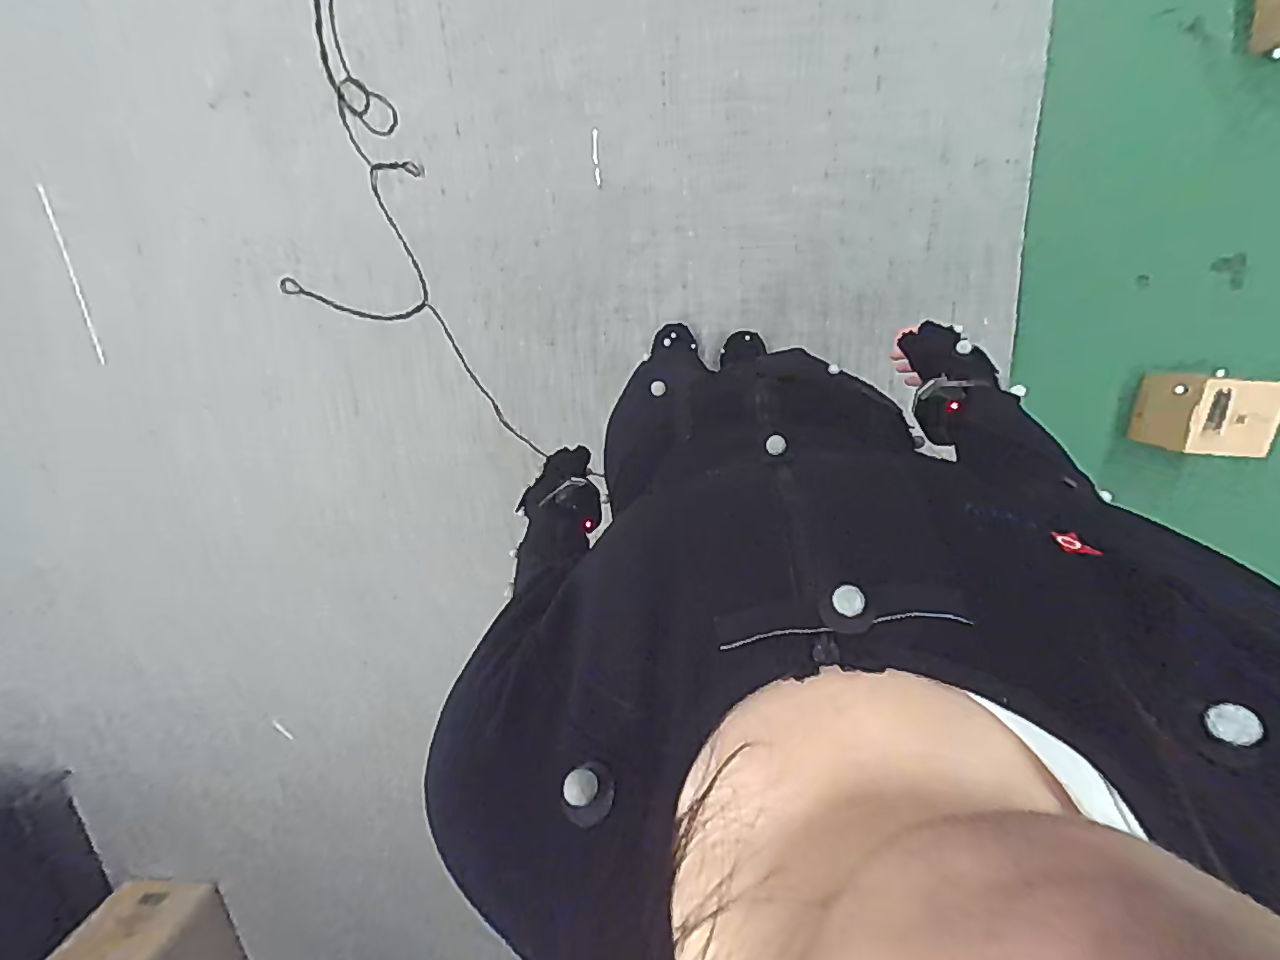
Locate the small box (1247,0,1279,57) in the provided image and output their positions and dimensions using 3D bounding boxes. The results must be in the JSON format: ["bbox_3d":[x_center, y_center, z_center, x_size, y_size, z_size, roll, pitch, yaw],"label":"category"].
[{"bbox_3d":[1.320,-0.937,1.018,0.168,0.176,0.179,-5,104,7],"label":"small box"}]
